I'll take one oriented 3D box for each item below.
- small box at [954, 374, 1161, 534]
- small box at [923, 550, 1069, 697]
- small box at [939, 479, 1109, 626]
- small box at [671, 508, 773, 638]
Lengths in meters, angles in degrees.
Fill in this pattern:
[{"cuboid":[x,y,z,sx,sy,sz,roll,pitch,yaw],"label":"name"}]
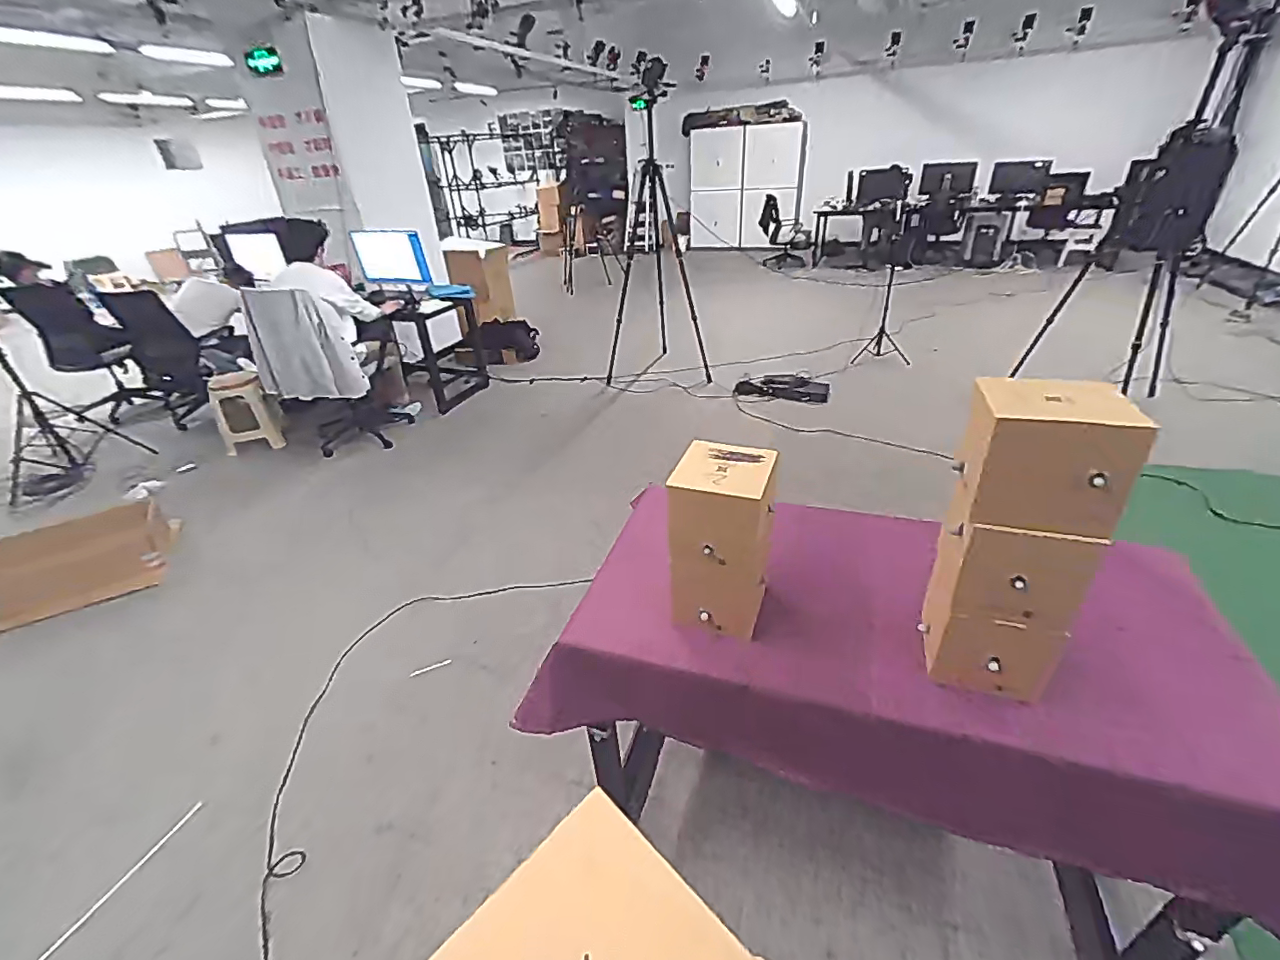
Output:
[{"cuboid":[0.579,-0.040,0.780,0.179,0.176,0.168,7,32,19],"label":"small box"},{"cuboid":[0.603,0.245,0.943,0.168,0.176,0.179,8,34,19],"label":"small box"},{"cuboid":[0.590,0.103,0.859,0.168,0.176,0.179,8,33,18],"label":"small box"},{"cuboid":[0.165,0.184,1.091,0.168,0.176,0.179,9,34,20],"label":"small box"}]
